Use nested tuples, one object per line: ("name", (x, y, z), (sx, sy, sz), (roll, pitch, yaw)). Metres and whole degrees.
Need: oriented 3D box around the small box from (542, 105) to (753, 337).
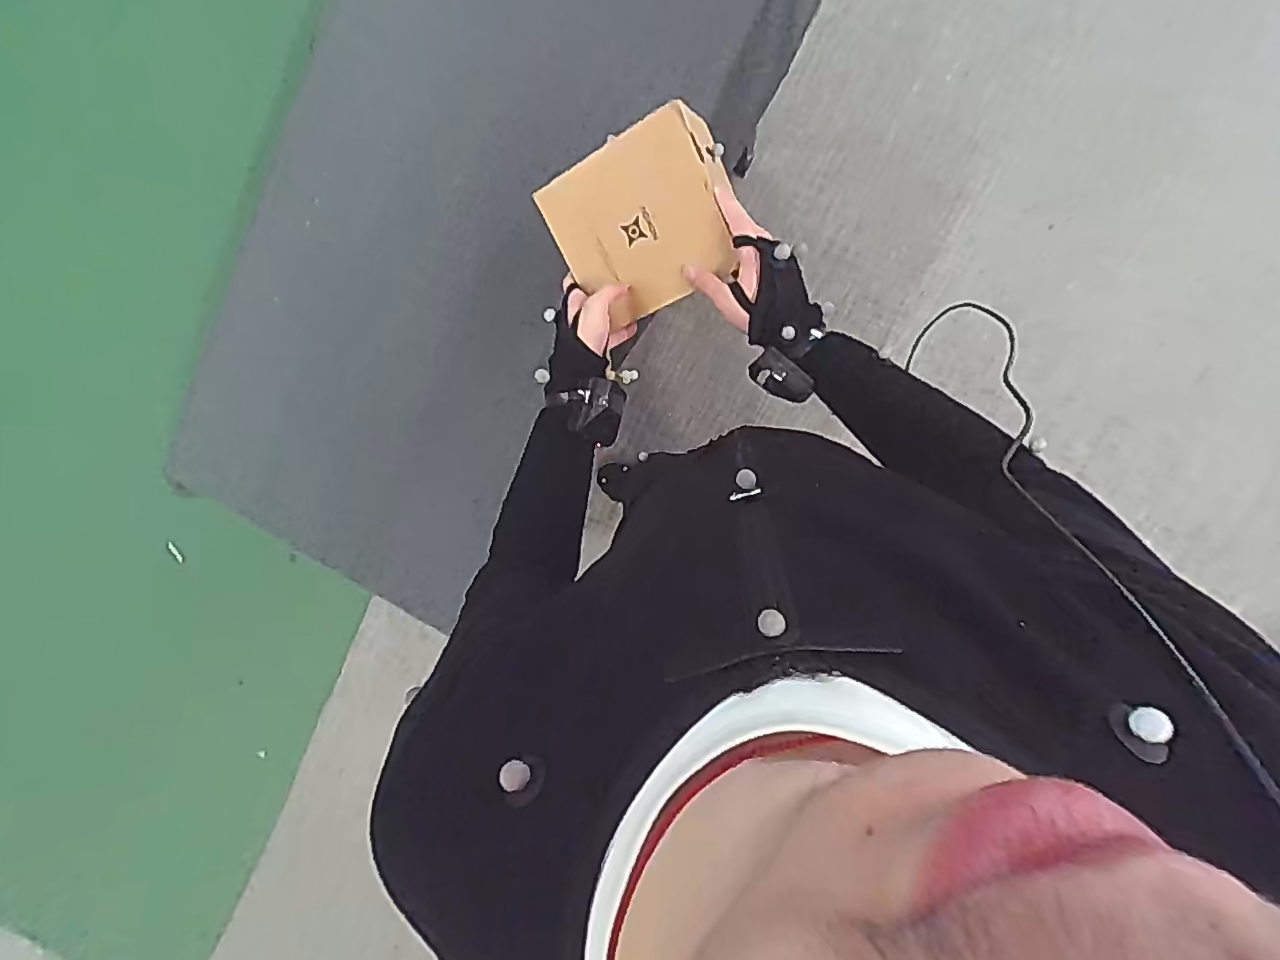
("small box", (0.023, -0.285, 0.622), (0.179, 0.176, 0.168), (-18, 106, 23))
